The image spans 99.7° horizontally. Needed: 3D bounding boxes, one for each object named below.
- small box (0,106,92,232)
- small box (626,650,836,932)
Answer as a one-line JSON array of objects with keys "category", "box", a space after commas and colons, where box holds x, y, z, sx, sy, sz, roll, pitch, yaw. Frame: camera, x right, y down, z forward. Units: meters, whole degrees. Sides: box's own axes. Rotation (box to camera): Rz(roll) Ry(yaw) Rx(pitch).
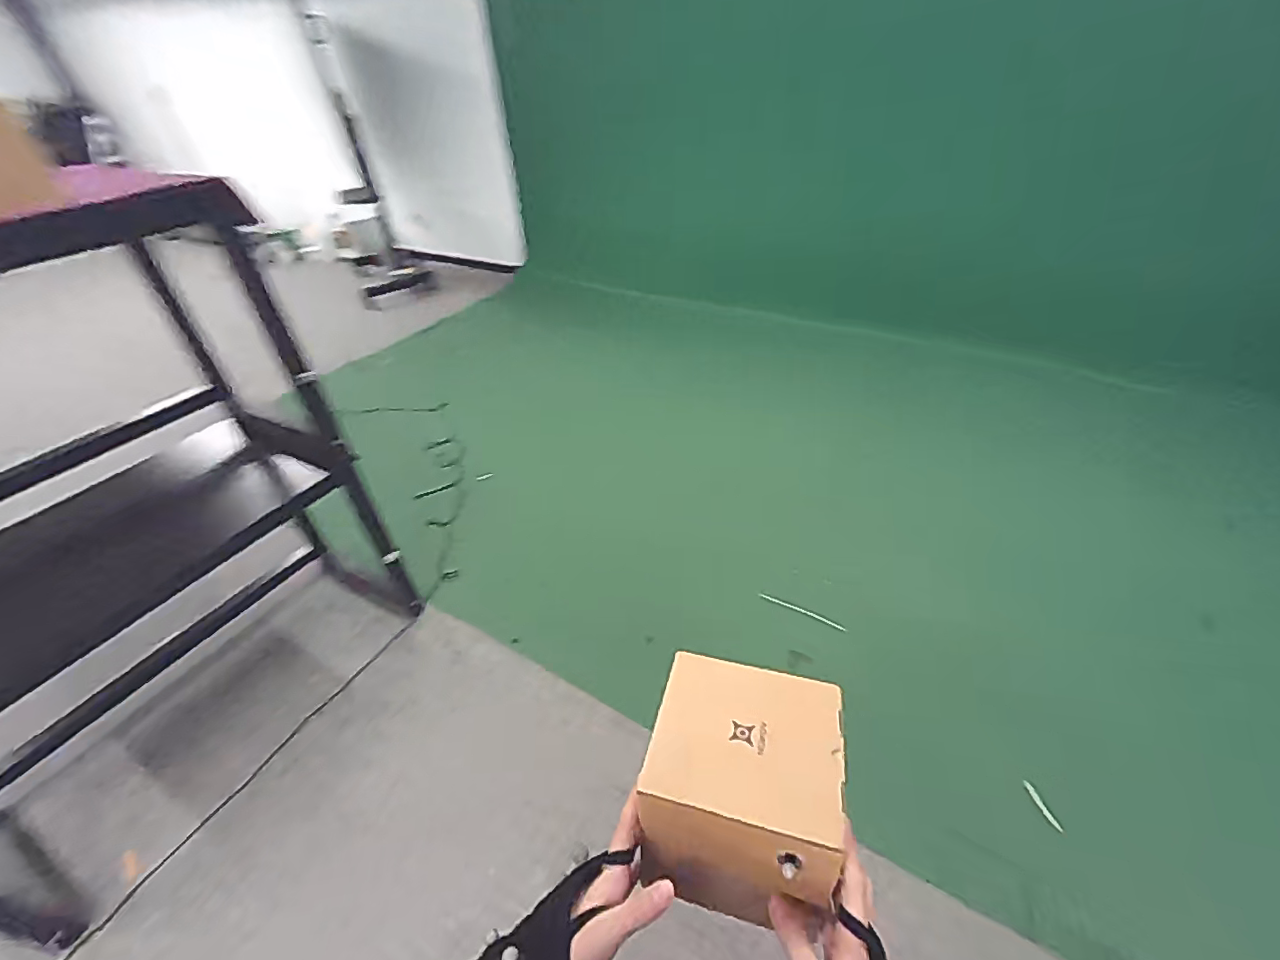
[{"category": "small box", "box": [-1.156, -0.550, 0.958, 0.168, 0.176, 0.179, 19, 45, 25]}, {"category": "small box", "box": [0.093, 0.305, 0.544, 0.179, 0.176, 0.168, 8, 30, 14]}]
